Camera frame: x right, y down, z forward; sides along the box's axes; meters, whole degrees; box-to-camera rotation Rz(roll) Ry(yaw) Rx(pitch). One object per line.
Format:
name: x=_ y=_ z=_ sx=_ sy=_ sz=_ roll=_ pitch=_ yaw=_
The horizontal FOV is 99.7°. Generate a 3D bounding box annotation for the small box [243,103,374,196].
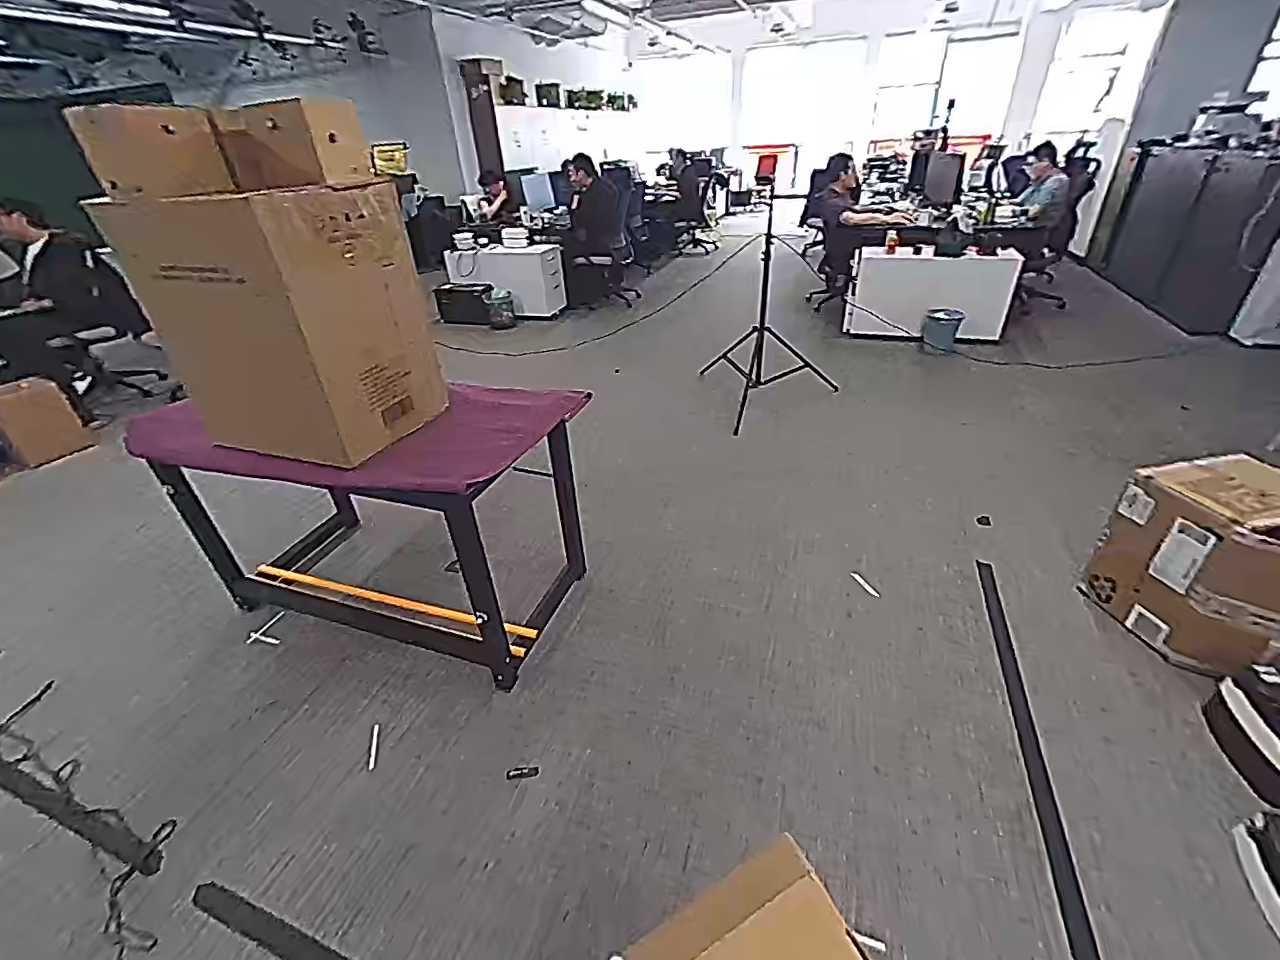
small box: x=-0.769 y=-0.779 z=1.278 sx=0.179 sy=0.176 sz=0.168 roll=4 pitch=33 yaw=16
